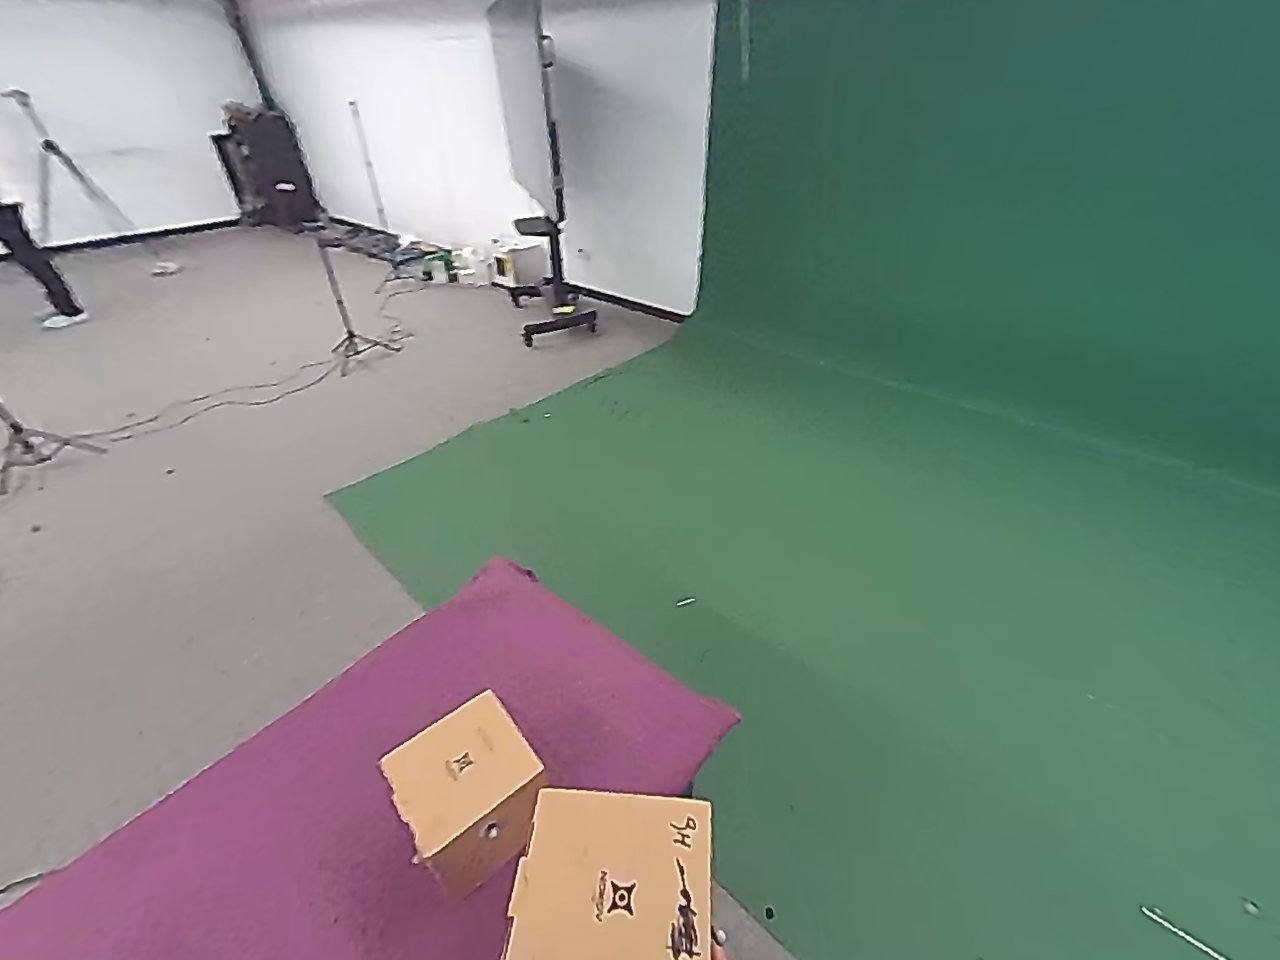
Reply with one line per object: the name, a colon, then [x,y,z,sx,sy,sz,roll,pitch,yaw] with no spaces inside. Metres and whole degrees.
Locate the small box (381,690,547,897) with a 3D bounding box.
small box: [-0.249,0.463,0.803,0.179,0.176,0.168,-27,44,-31]

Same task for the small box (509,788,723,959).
small box: [-0.009,0.426,0.530,0.179,0.176,0.168,1,44,8]
